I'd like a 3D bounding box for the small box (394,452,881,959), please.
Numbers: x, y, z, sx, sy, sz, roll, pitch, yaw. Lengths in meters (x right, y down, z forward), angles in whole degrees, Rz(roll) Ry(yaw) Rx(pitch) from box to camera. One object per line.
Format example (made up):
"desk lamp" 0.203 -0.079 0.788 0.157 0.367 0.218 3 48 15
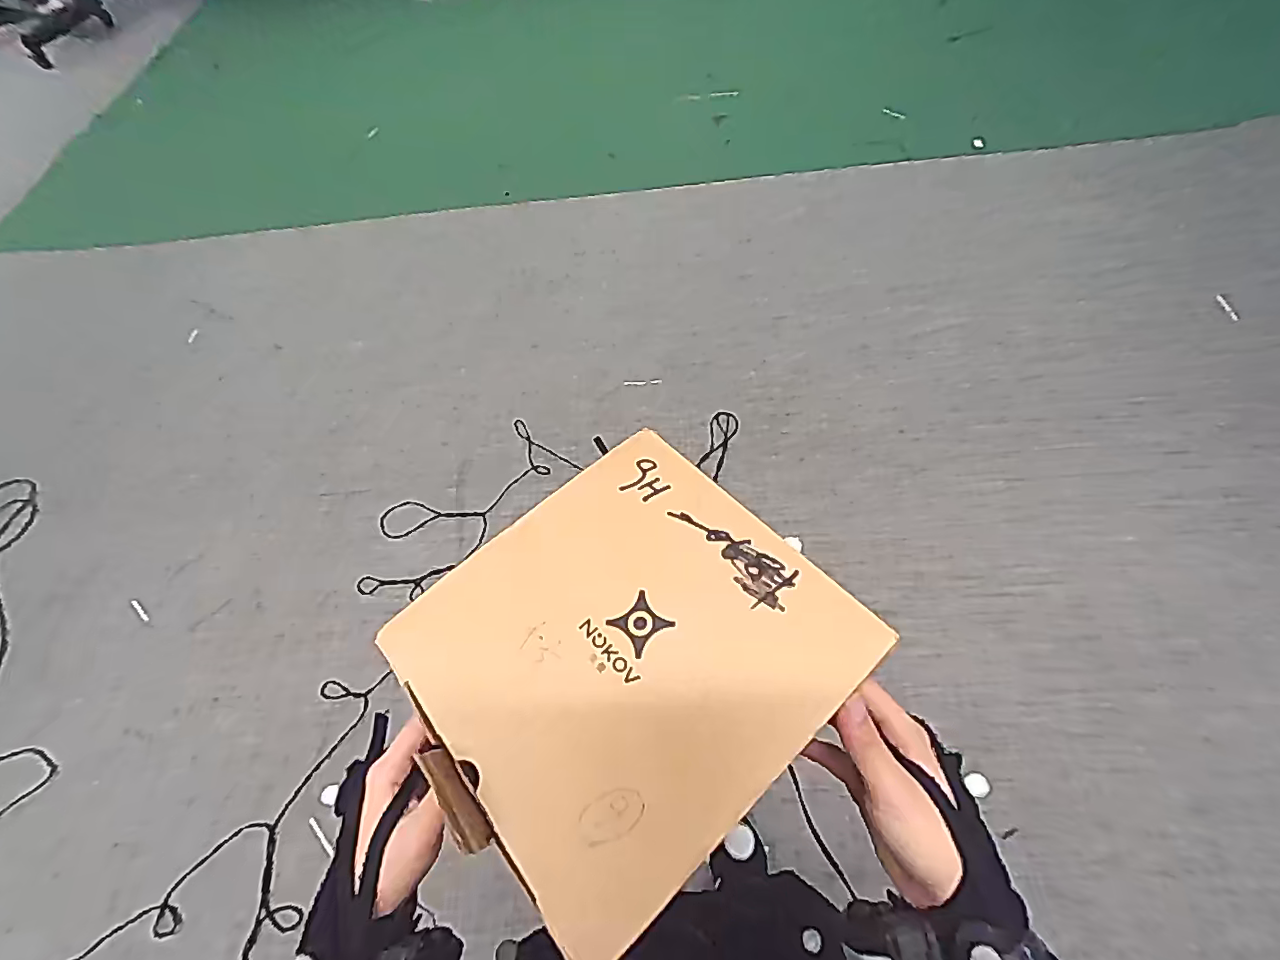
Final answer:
"small box" 0.002 0.125 0.319 0.179 0.176 0.168 -39 61 -18
